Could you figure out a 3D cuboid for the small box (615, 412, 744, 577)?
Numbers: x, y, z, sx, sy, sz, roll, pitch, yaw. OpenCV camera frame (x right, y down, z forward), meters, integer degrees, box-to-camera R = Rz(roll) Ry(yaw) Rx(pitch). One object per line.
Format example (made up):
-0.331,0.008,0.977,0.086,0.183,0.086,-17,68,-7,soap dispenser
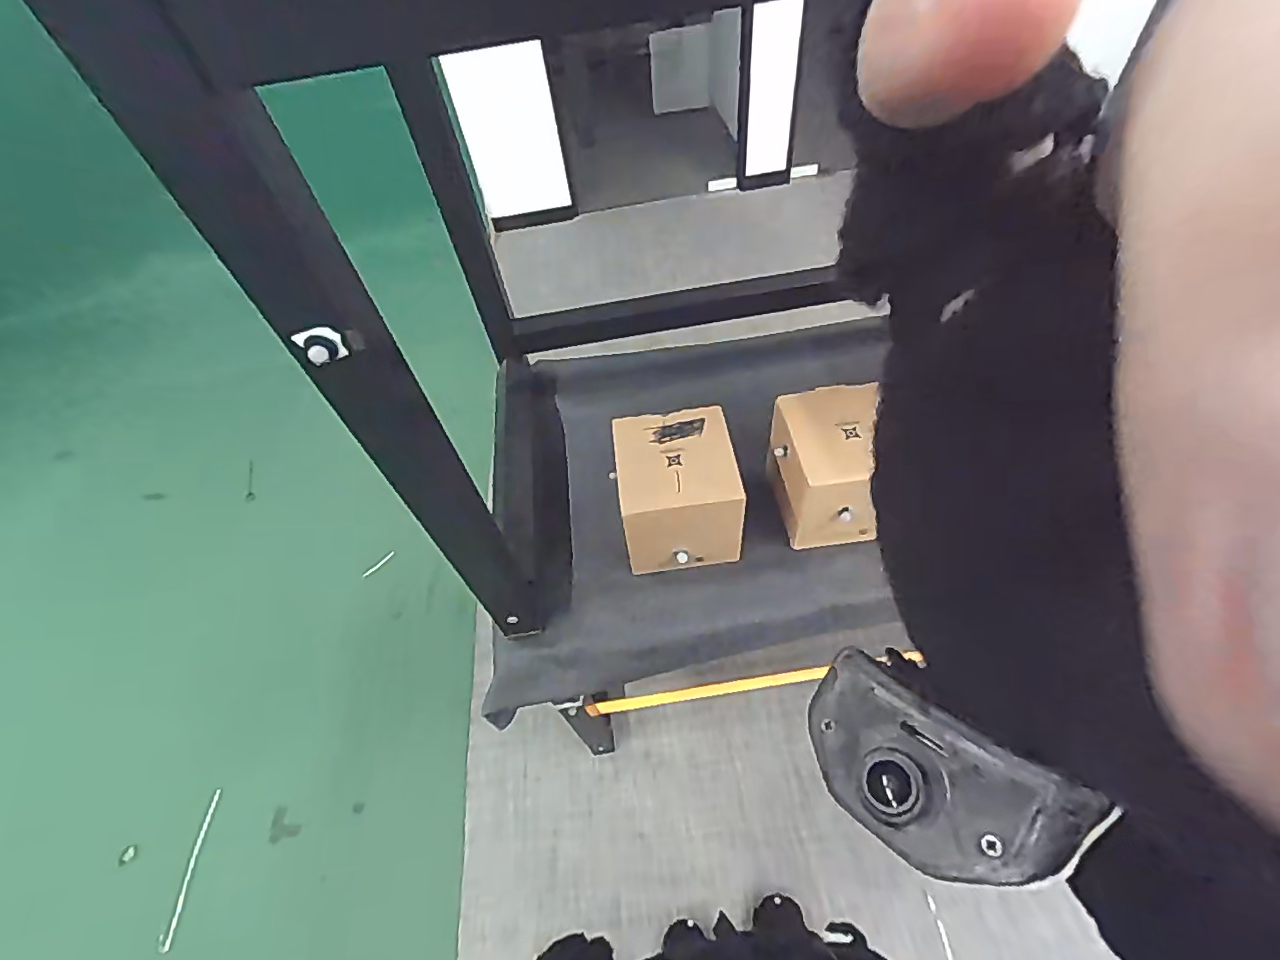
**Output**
0.056,0.024,0.816,0.168,0.176,0.179,-7,52,1,small box

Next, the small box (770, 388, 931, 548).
0.299,-0.010,0.814,0.168,0.176,0.179,-7,51,1,small box
